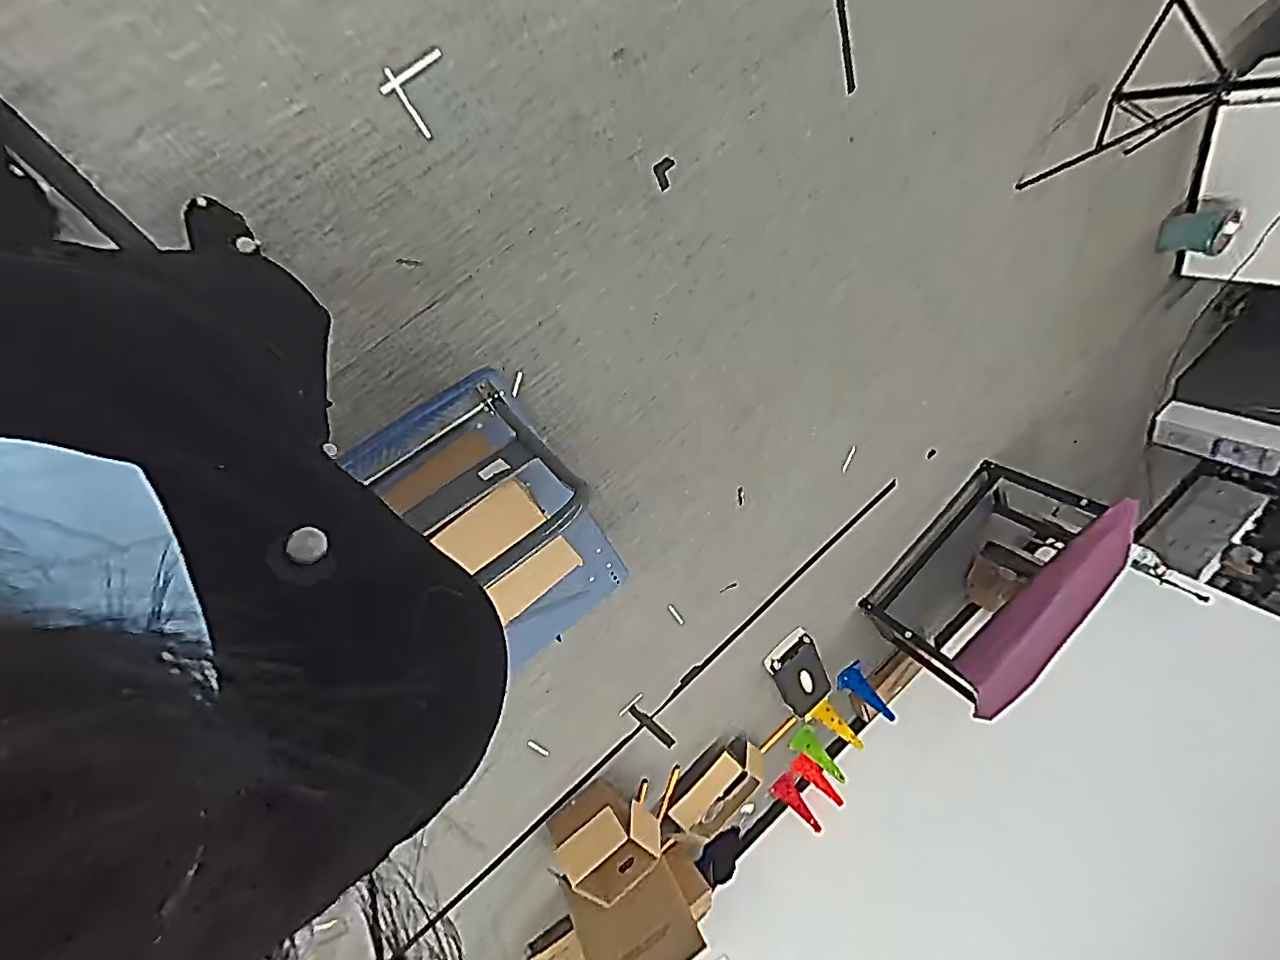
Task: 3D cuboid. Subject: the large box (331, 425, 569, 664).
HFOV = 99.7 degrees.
[{"bbox_3d":[-0.454,0.142,1.298,0.408,0.320,0.320,-39,129,-8],"label":"large box"}]
